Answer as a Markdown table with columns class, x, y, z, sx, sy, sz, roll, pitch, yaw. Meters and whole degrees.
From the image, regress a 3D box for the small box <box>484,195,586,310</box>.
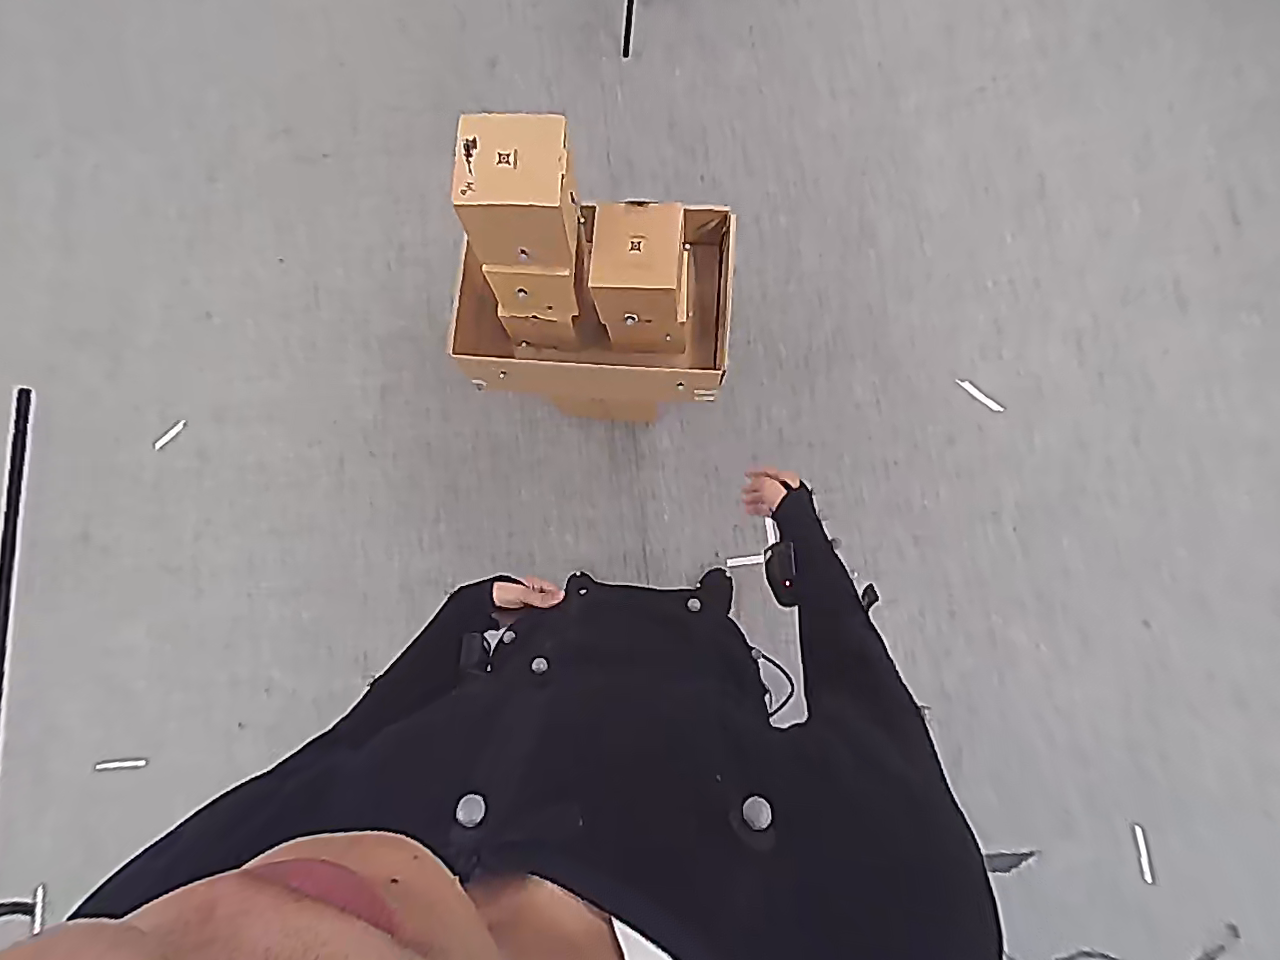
| class | x | y | z | sx | sy | sz | roll | pitch | yaw |
| --- | --- | --- | --- | --- | --- | --- | --- | --- | --- |
| small box | -0.202 | -0.461 | 1.091 | 0.168 | 0.176 | 0.179 | 4 | 80 | 1 |

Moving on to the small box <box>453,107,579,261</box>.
| class | x | y | z | sx | sy | sz | roll | pitch | yaw |
| --- | --- | --- | --- | --- | --- | --- | --- | --- | --- |
| small box | -0.202 | -0.498 | 0.931 | 0.179 | 0.176 | 0.168 | 3 | 80 | 0 |

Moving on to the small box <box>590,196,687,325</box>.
| class | x | y | z | sx | sy | sz | roll | pitch | yaw |
| --- | --- | --- | --- | --- | --- | --- | --- | --- | --- |
| small box | 0.003 | -0.429 | 1.073 | 0.168 | 0.176 | 0.179 | 4 | 81 | 6 |
